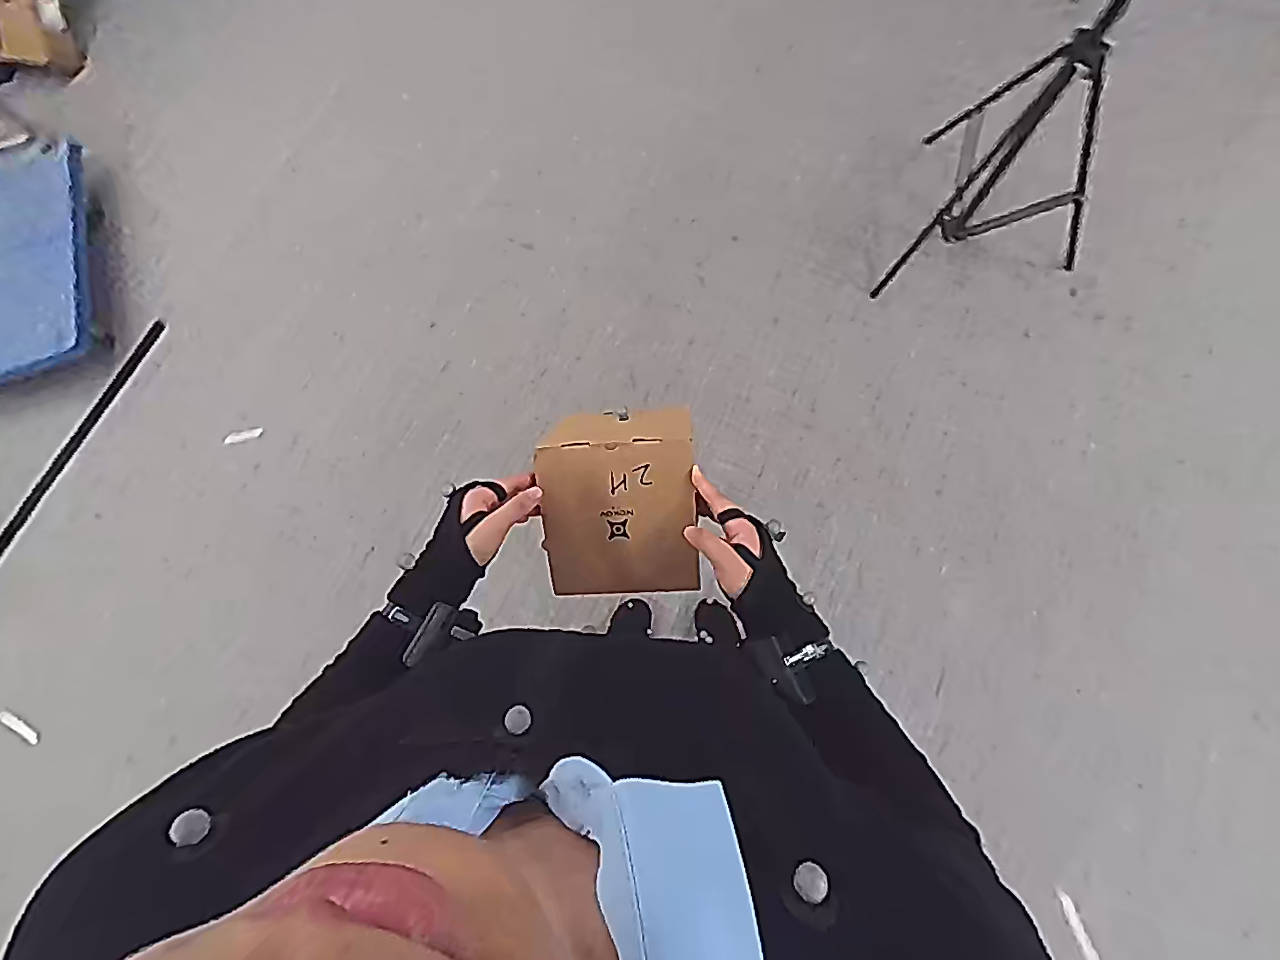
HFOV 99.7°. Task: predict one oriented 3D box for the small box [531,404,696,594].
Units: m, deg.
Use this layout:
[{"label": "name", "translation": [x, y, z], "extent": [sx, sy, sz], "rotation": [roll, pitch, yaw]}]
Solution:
[{"label": "small box", "translation": [-0.021, 0.015, 0.644], "extent": [0.168, 0.176, 0.179], "rotation": [-4, 108, 3]}]
